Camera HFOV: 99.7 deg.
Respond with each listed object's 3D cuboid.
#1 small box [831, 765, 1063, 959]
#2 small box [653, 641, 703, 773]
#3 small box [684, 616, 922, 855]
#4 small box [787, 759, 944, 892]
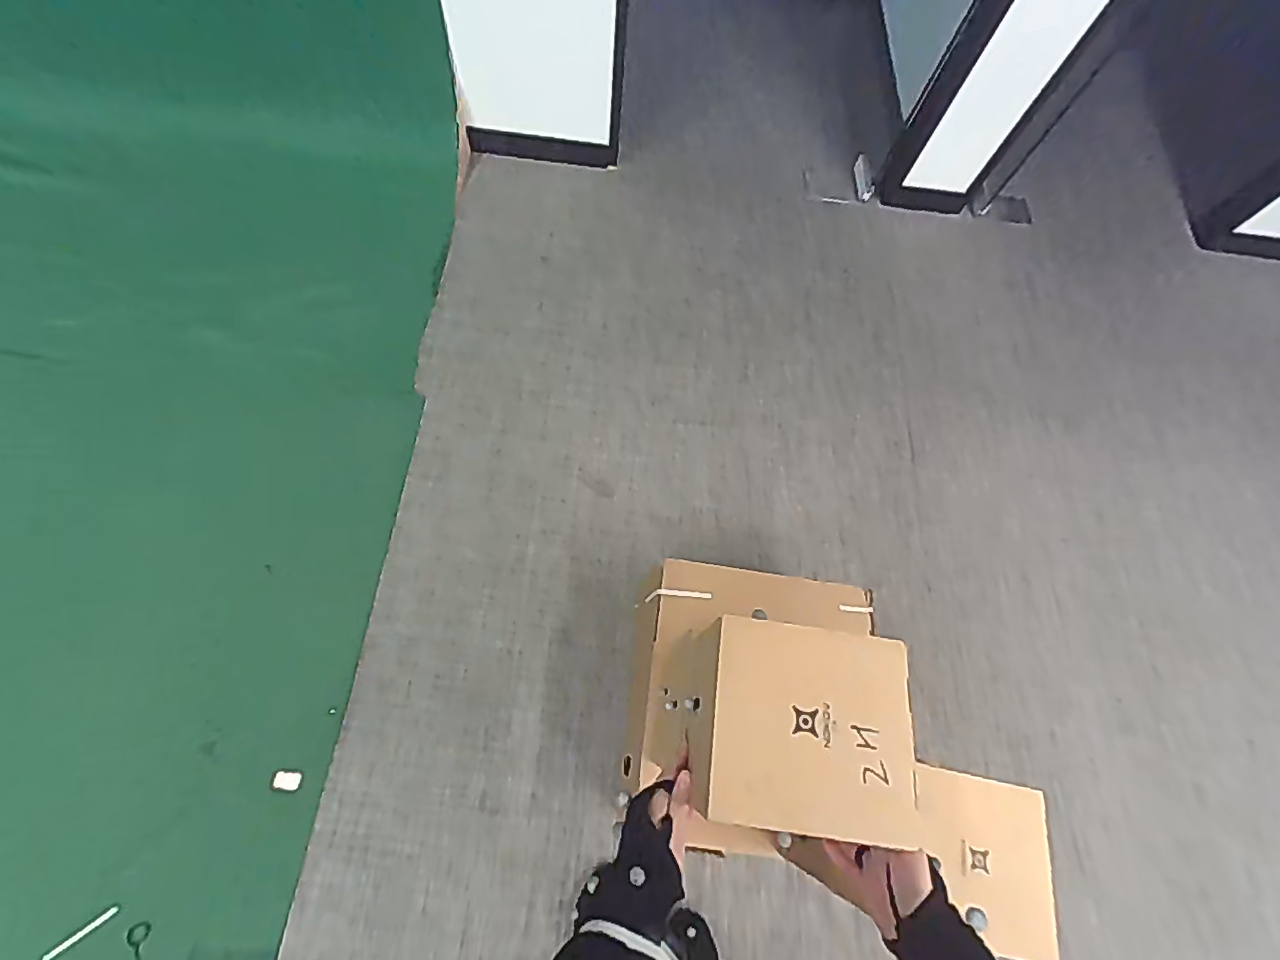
[{"bbox_3d":[0.354,0.440,0.652,0.179,0.176,0.168,13,66,-1],"label":"small box"},{"bbox_3d":[0.118,0.365,0.838,0.168,0.176,0.179,11,64,0],"label":"small box"},{"bbox_3d":[0.144,0.243,0.531,0.179,0.176,0.168,9,66,0],"label":"small box"},{"bbox_3d":[0.327,0.496,0.802,0.168,0.176,0.179,12,65,-2],"label":"small box"}]
